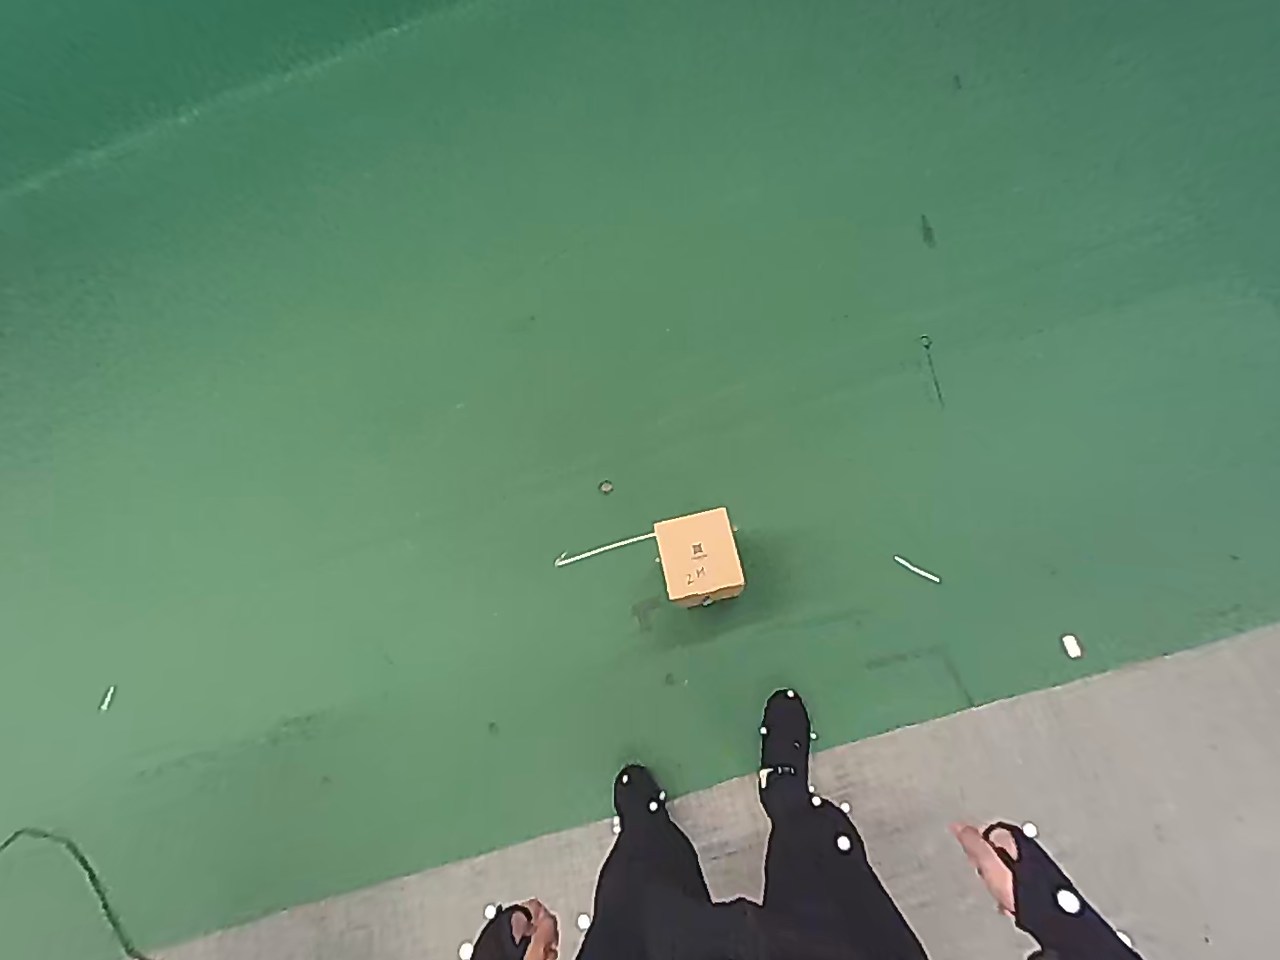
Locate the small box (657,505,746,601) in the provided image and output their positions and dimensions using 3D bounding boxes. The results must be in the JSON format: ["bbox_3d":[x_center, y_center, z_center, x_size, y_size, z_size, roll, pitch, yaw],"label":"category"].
[{"bbox_3d":[0.141,0.174,1.245,0.168,0.176,0.179,-13,73,5],"label":"small box"}]
